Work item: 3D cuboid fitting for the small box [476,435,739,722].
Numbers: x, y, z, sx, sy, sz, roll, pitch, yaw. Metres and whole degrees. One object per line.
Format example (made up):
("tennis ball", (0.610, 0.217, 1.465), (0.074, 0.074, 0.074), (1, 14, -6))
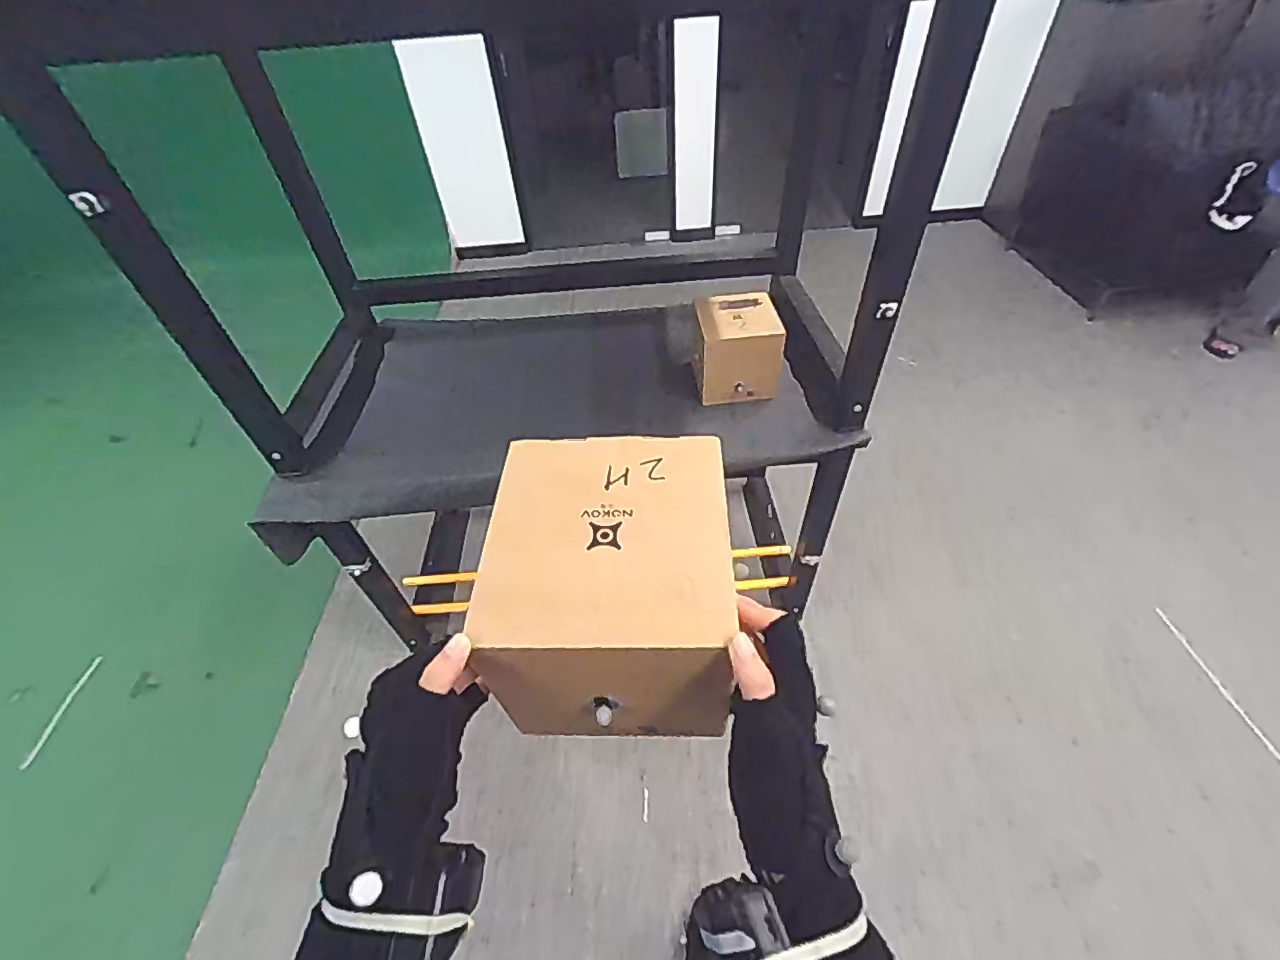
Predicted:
("small box", (-0.015, 0.084, 0.440), (0.168, 0.176, 0.179), (-1, 48, 2))
